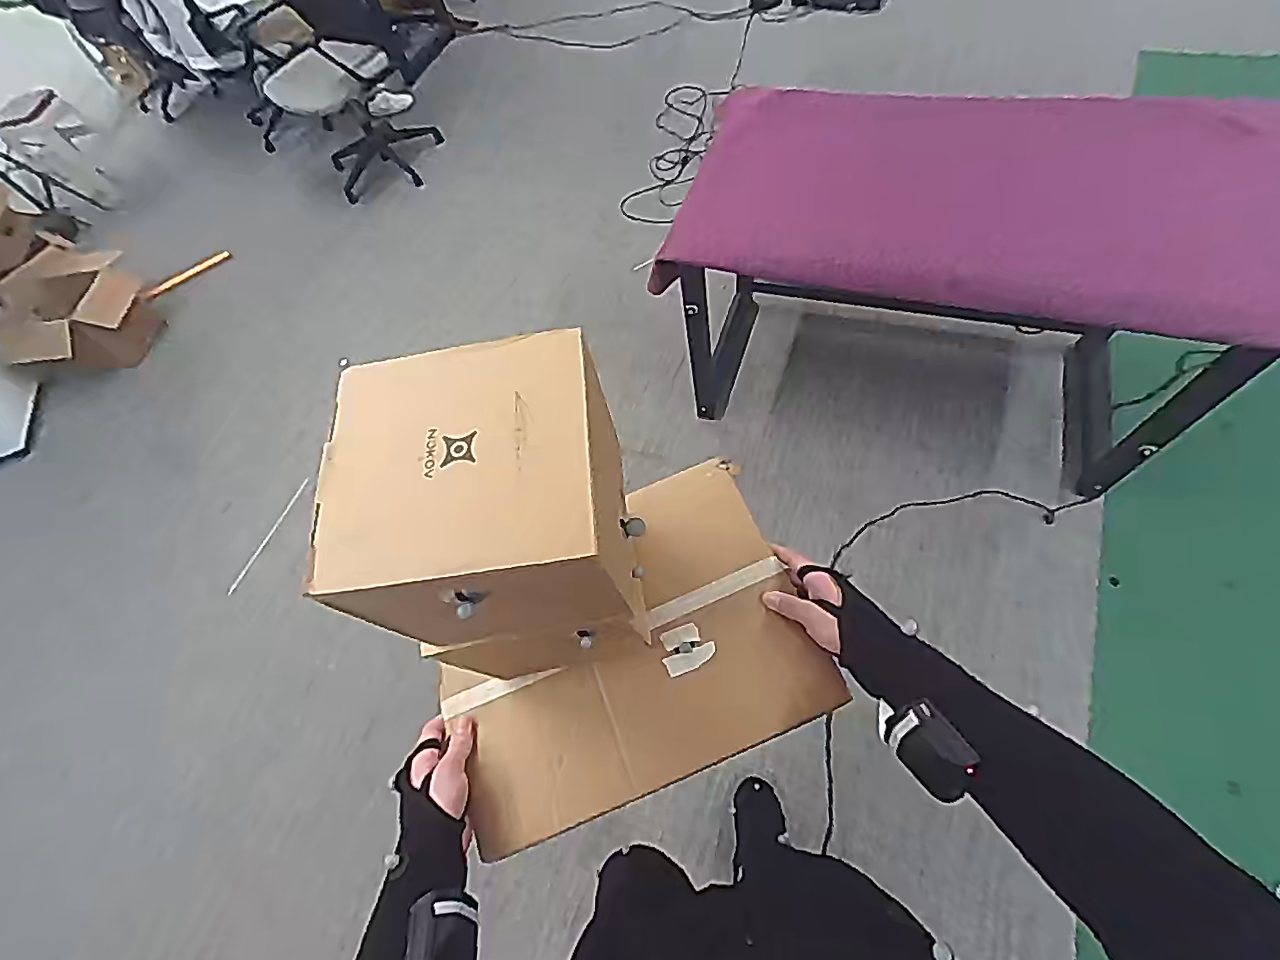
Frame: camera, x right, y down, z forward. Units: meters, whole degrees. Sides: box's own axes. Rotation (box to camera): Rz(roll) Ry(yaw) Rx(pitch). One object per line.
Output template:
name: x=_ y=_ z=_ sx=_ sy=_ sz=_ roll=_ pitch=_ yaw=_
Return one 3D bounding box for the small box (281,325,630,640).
small box: x=-0.111 y=0.016 z=0.401 sx=0.179 sy=0.176 sz=0.168 roll=-8 pitch=63 yaw=5

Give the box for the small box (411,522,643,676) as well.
small box: x=-0.104 y=0.091 z=0.546 sx=0.179 sy=0.176 sz=0.168 roll=-13 pitch=62 yaw=3

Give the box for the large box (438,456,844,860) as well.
large box: x=-0.009 y=0.235 z=0.733 sx=0.408 sy=0.320 sz=0.320 roll=-23 pitch=64 yaw=-3
